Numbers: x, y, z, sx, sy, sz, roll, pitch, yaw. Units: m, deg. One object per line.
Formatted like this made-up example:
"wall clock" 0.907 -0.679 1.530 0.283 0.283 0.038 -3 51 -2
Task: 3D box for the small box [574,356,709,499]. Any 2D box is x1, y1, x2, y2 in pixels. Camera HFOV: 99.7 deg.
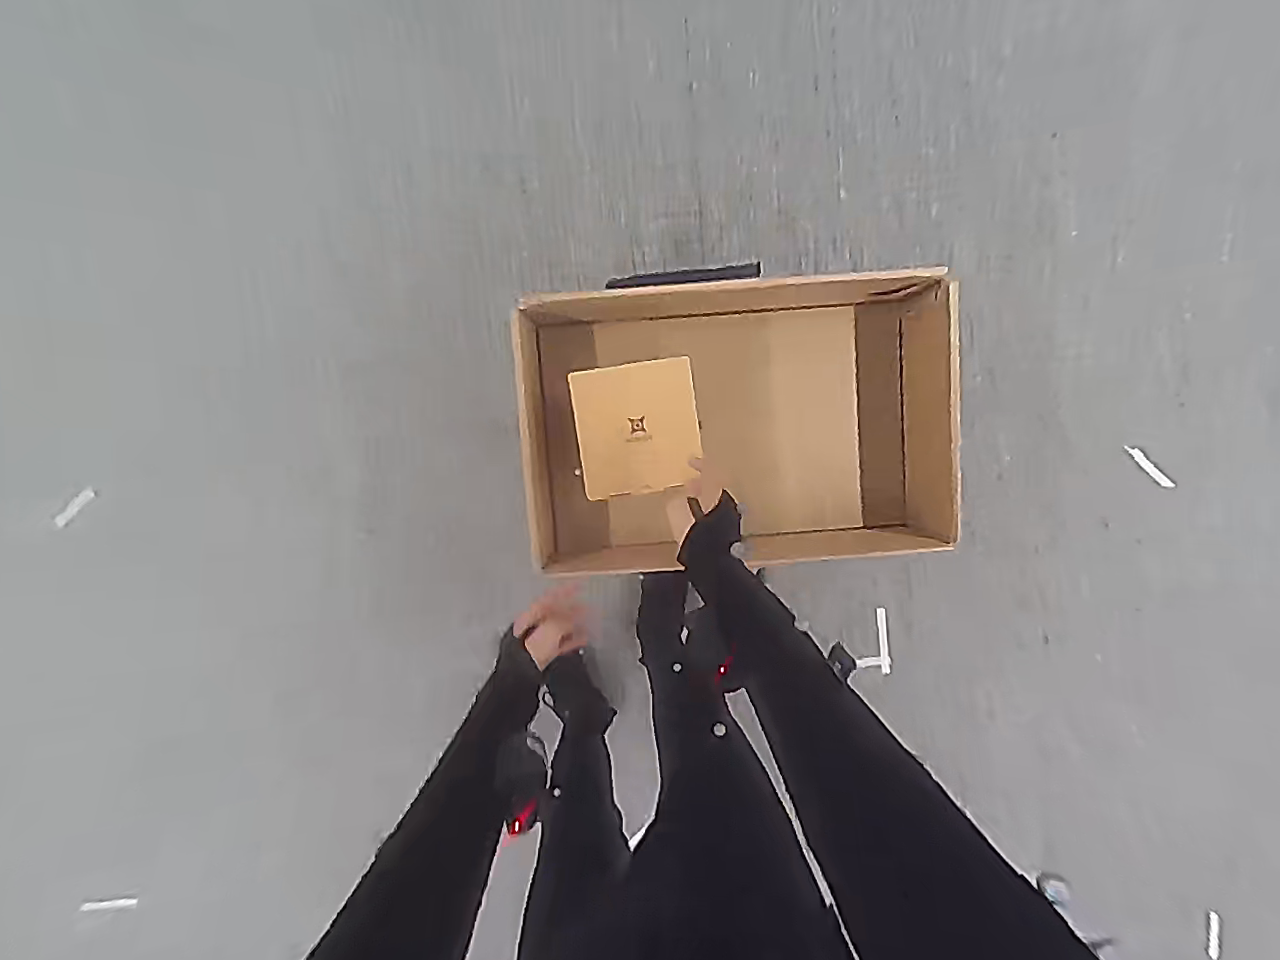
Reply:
"small box" 0.000 -0.076 0.807 0.168 0.176 0.179 -9 96 0
